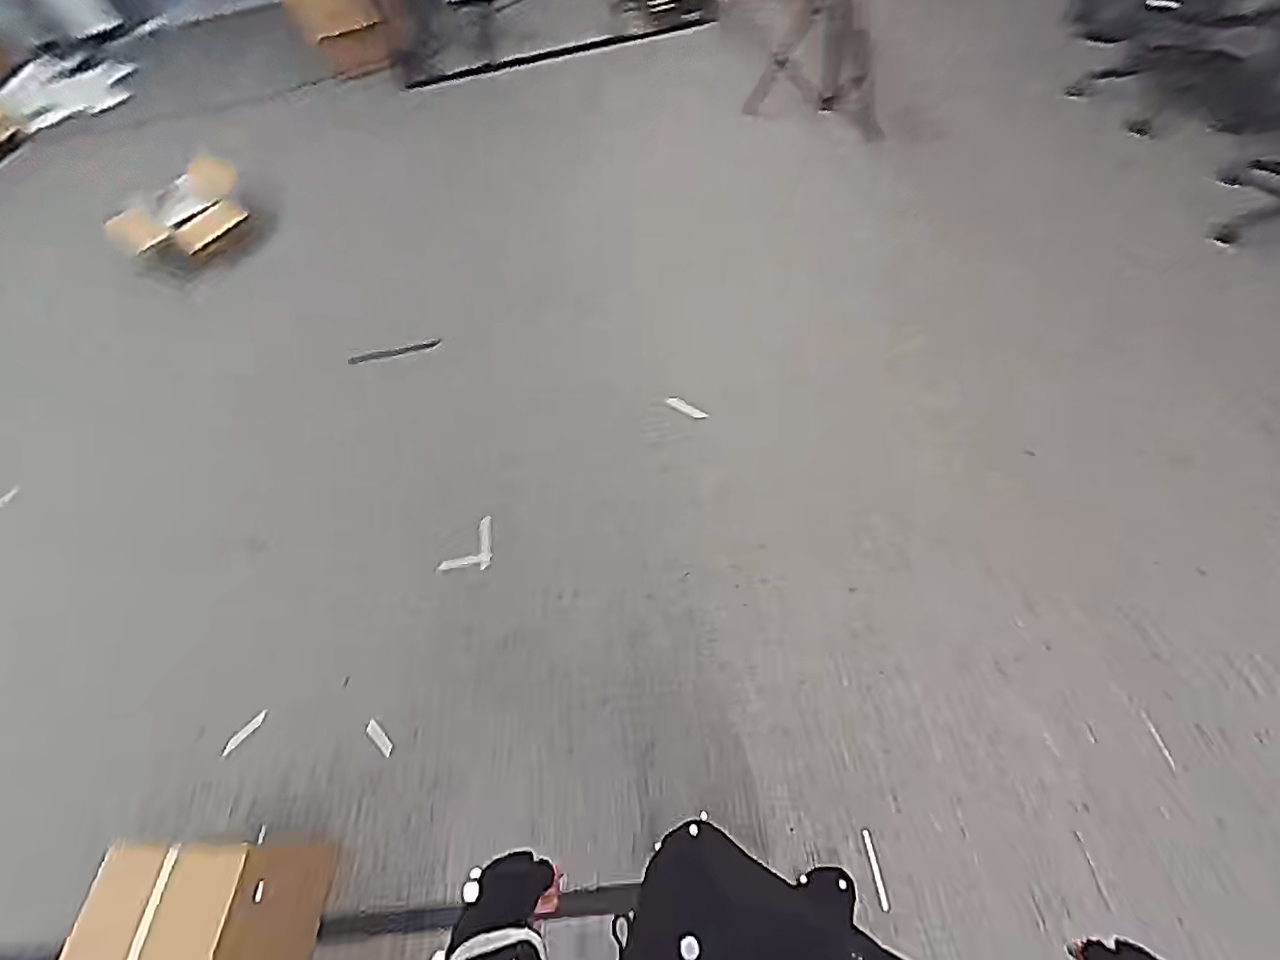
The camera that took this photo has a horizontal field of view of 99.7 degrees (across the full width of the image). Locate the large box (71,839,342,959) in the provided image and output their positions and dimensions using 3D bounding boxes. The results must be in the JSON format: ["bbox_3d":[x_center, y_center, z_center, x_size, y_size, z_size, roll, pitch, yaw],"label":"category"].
[{"bbox_3d":[-0.882,0.972,1.093,0.320,0.320,0.408,-3,58,7],"label":"large box"}]
